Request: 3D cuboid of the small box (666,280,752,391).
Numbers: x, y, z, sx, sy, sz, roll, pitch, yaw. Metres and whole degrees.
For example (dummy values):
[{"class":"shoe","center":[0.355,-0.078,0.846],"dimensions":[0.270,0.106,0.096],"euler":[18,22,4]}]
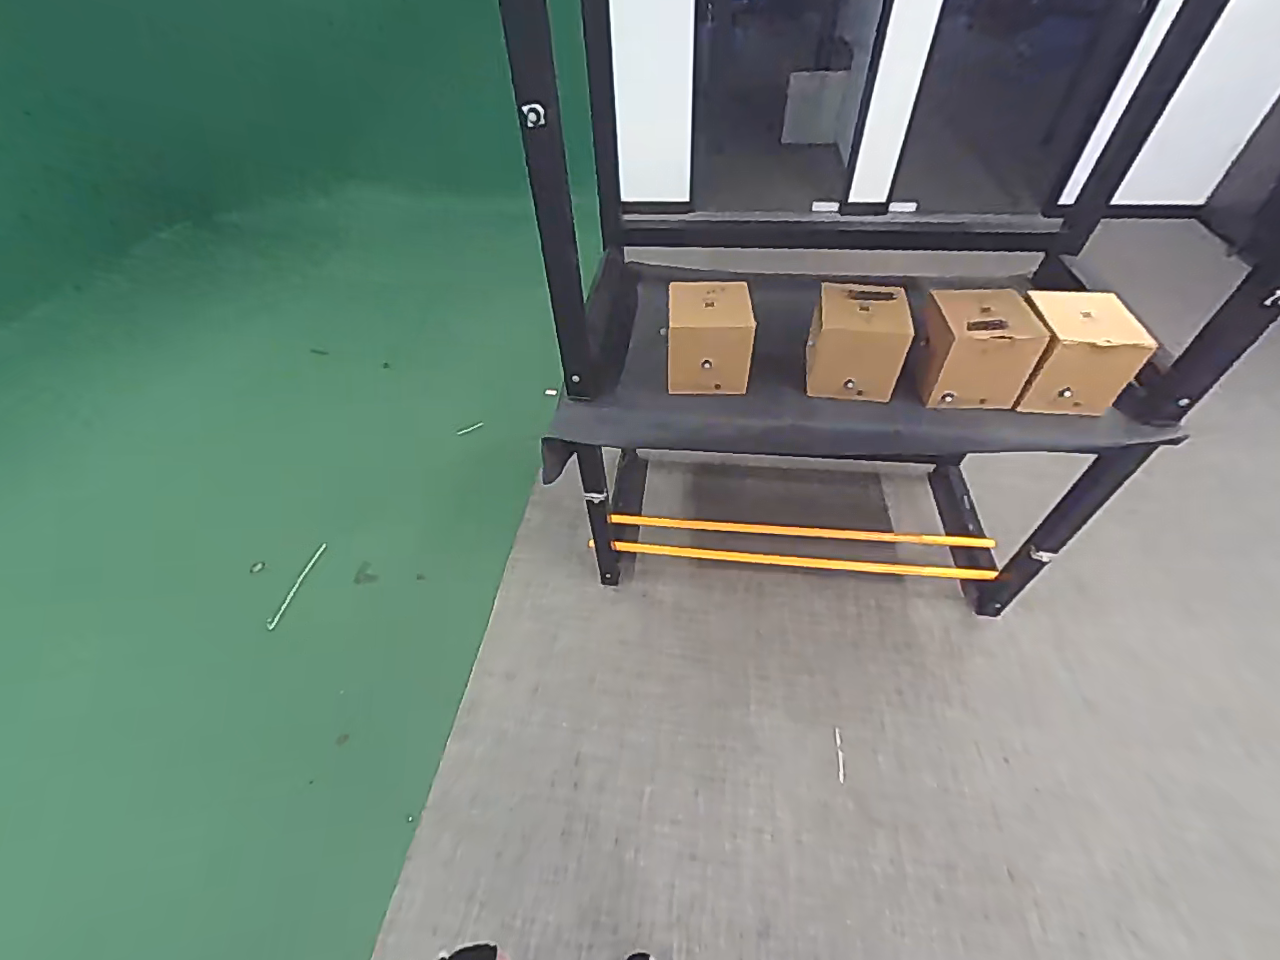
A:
[{"class":"small box","center":[0.141,-0.304,1.149],"dimensions":[0.168,0.176,0.179],"euler":[1,47,3]}]
